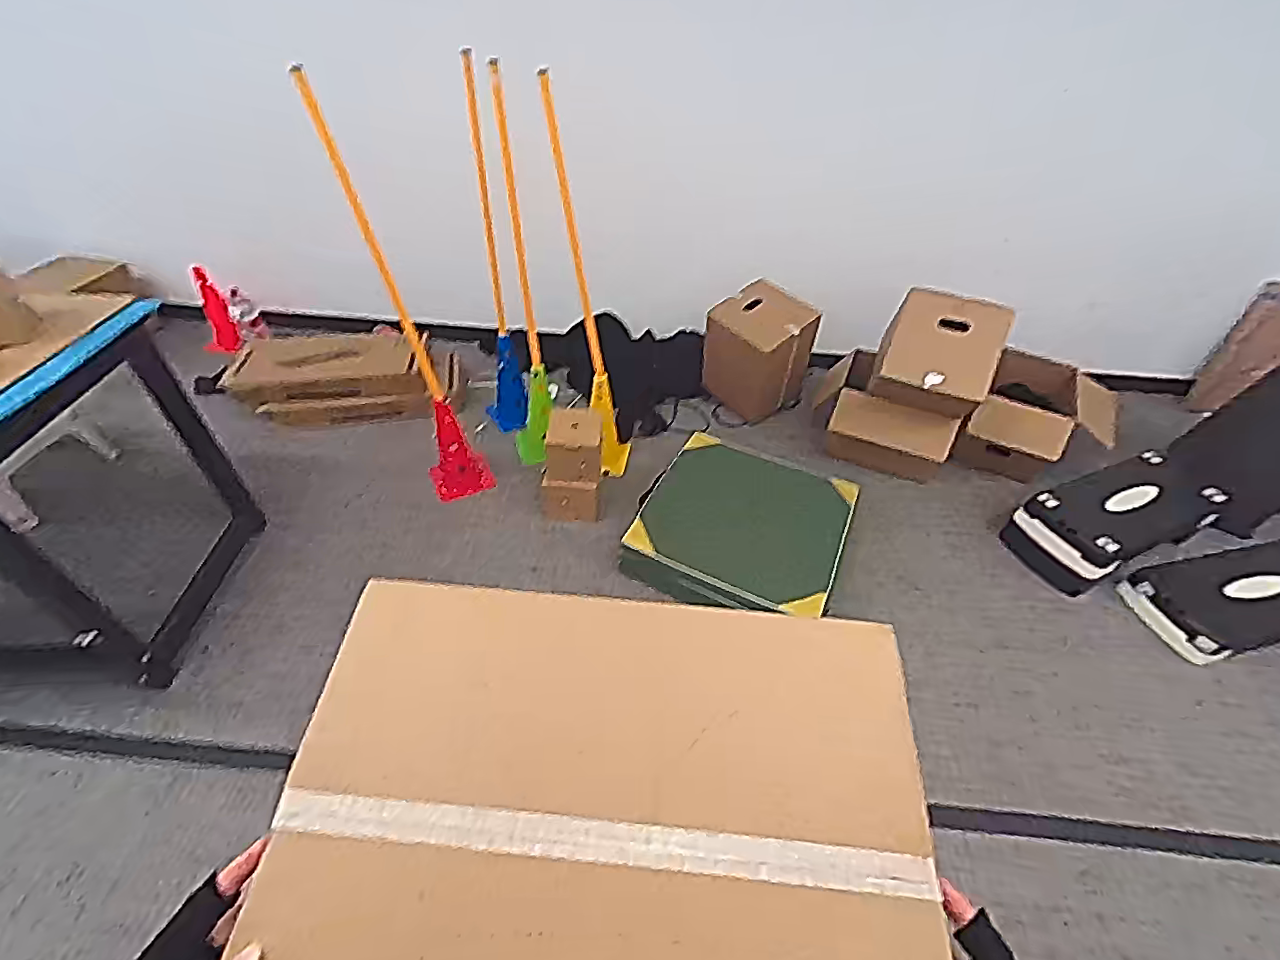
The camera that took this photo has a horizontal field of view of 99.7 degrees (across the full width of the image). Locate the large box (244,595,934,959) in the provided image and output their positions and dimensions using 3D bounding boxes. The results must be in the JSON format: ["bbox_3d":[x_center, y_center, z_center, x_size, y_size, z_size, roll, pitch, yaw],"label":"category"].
[{"bbox_3d":[-0.025,0.314,0.464,0.408,0.320,0.320,4,57,3],"label":"large box"}]
